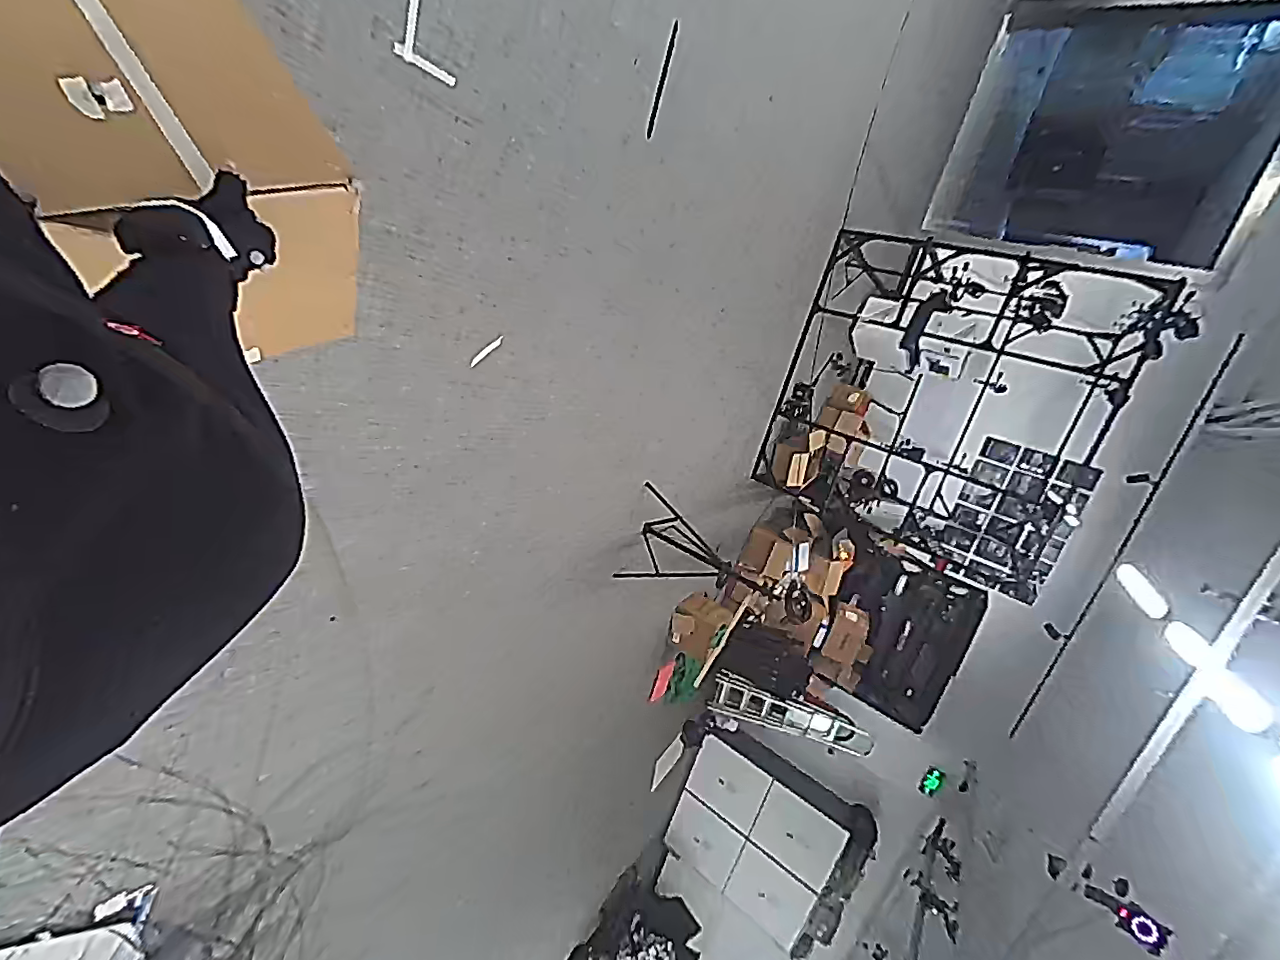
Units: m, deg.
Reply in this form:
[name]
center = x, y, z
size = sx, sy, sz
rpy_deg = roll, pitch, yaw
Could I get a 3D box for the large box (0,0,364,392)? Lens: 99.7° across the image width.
[large box]
center = -0.632, -0.398, 0.721
size = 0.320, 0.408, 0.320
rpy_deg = -33, 177, -34
